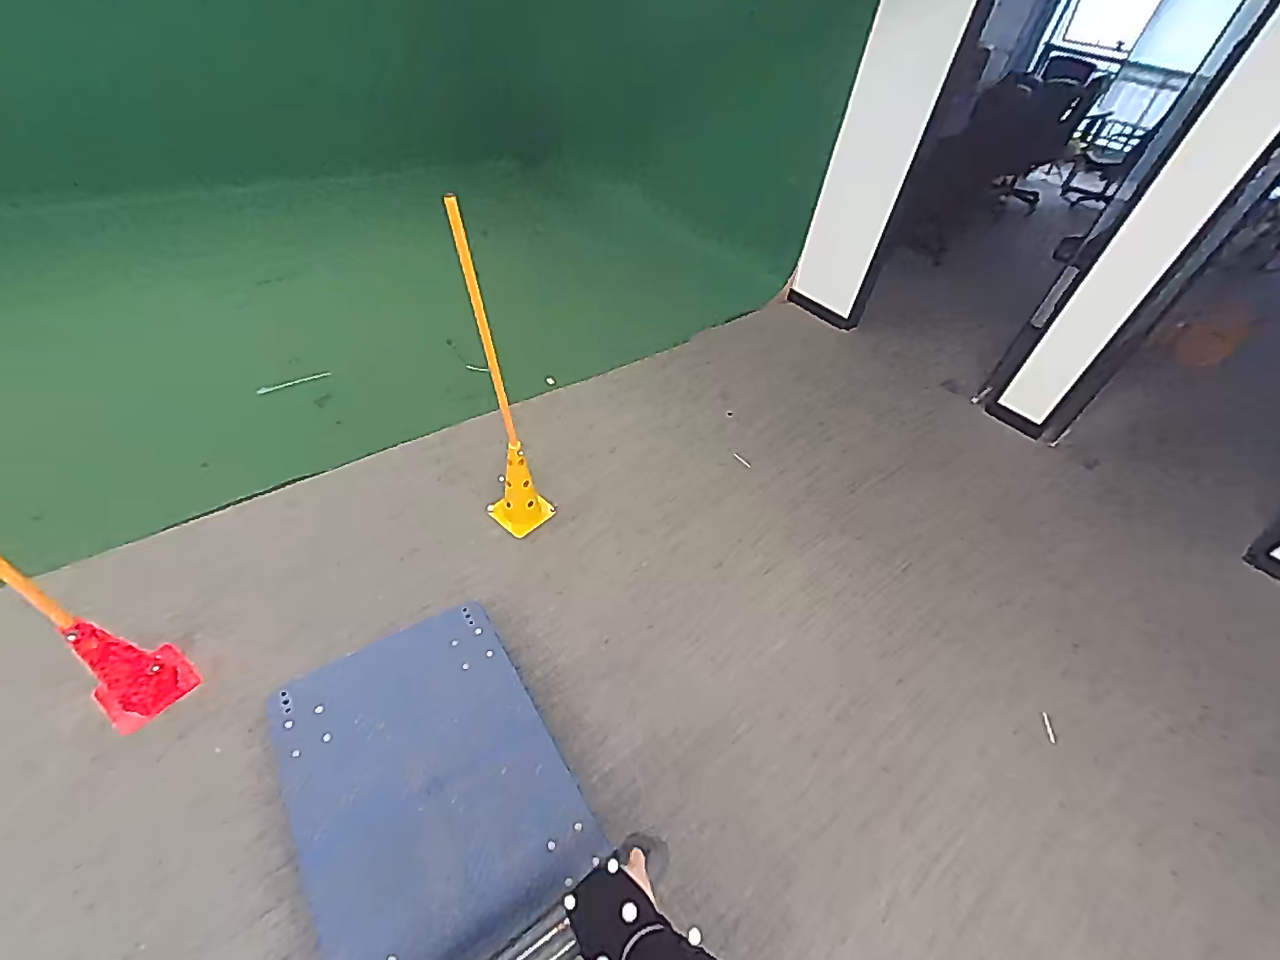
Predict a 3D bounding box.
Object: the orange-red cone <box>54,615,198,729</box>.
[{"bbox_3d":[-1.370,0.454,1.395,0.198,0.360,0.199,31,51,22],"label":"orange-red cone"}]
